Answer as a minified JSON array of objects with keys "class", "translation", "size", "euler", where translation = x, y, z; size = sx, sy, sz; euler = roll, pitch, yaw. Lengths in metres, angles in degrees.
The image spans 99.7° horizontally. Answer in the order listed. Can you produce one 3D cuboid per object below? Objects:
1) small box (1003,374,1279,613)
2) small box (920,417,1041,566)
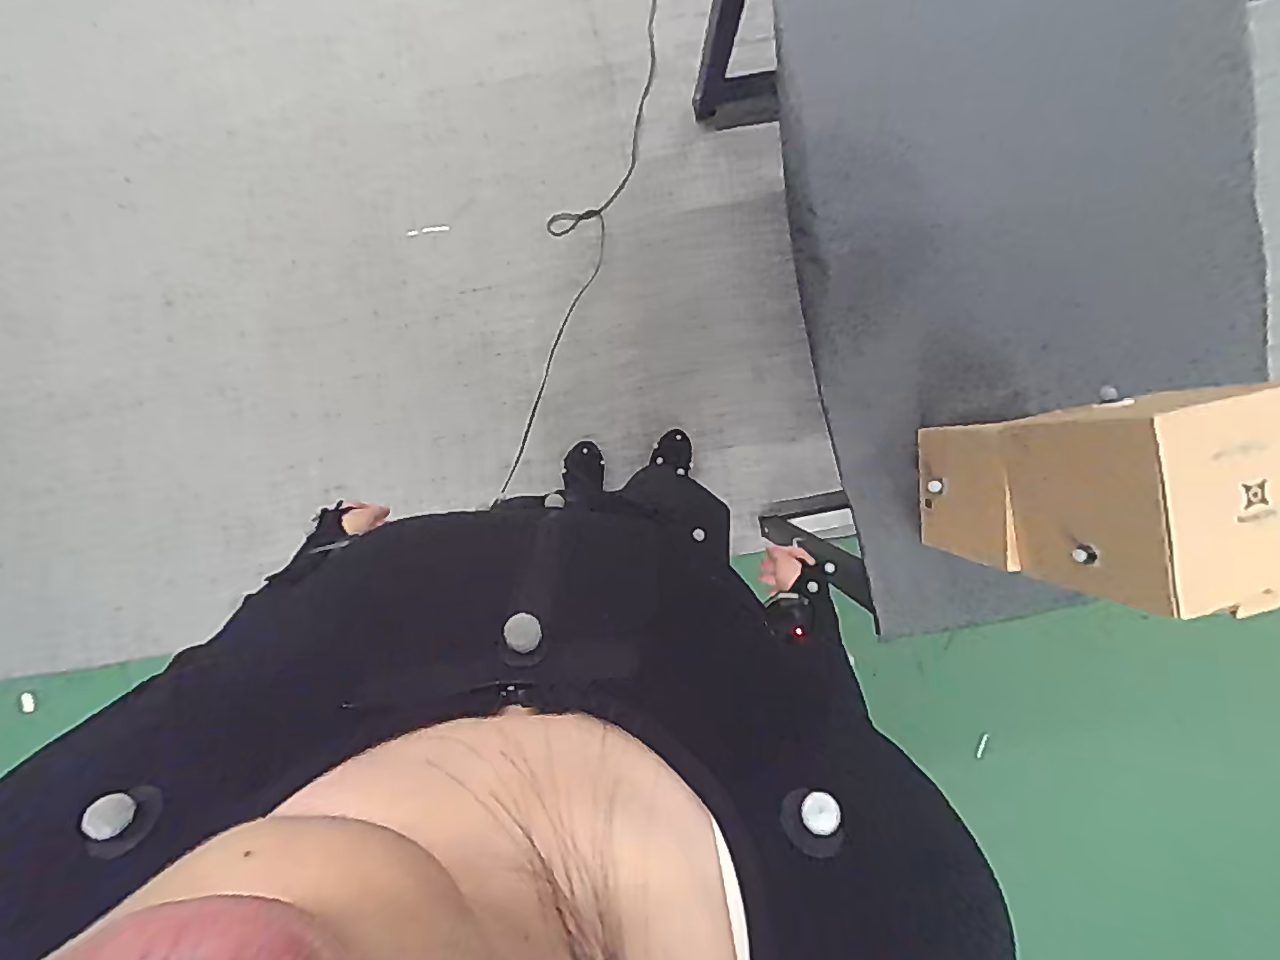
[{"class":"small box","translation":[0.490,0.004,0.515],"size":[0.168,0.176,0.179],"euler":[-12,93,-4]},{"class":"small box","translation":[0.482,0.004,0.677],"size":[0.179,0.176,0.168],"euler":[-4,94,-3]}]
